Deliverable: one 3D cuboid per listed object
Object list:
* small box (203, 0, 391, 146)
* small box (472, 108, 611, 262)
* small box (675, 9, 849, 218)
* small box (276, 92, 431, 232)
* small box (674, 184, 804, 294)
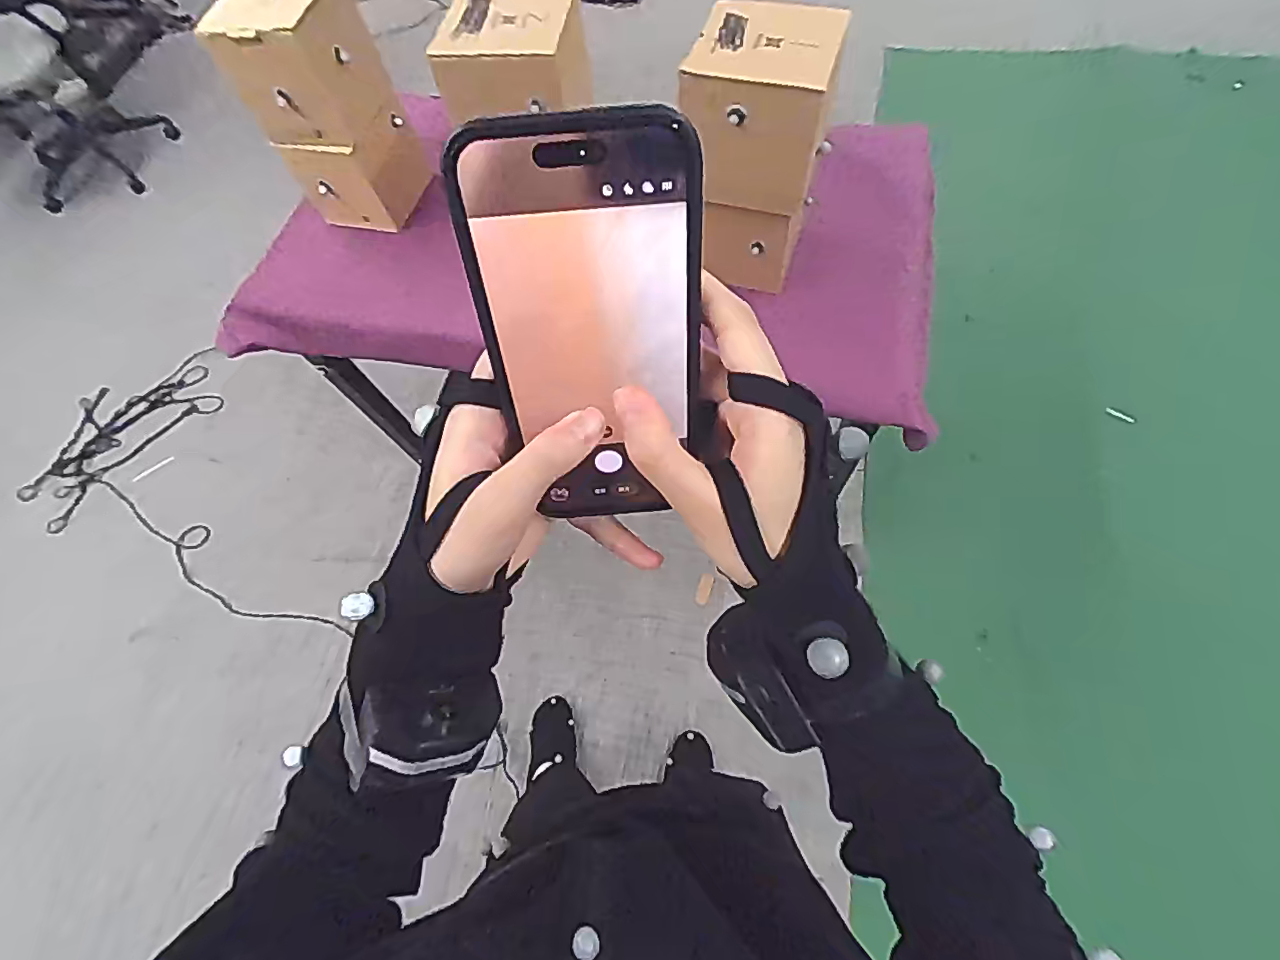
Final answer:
[{"bbox_3d":[-0.542,-0.680,0.885,0.168,0.176,0.179,7,67,8],"label":"small box"},{"bbox_3d":[-0.158,-0.510,0.949,0.179,0.176,0.168,11,67,11],"label":"small box"},{"bbox_3d":[0.156,-0.485,0.727,0.179,0.176,0.168,17,68,12],"label":"small box"},{"bbox_3d":[-0.529,-0.604,1.030,0.168,0.176,0.179,12,67,11],"label":"small box"},{"bbox_3d":[0.167,-0.431,0.882,0.179,0.176,0.168,17,68,14],"label":"small box"}]
